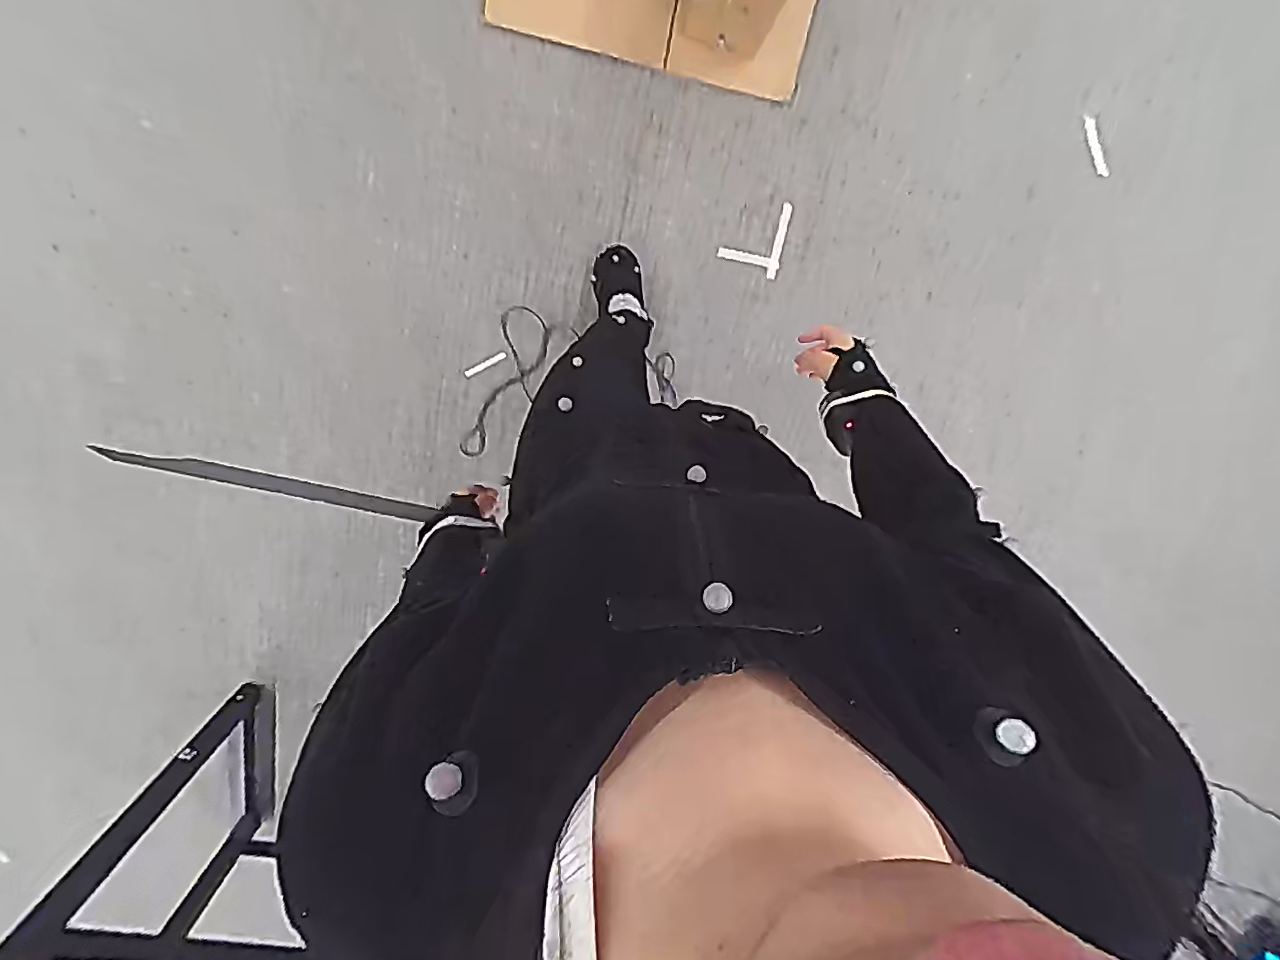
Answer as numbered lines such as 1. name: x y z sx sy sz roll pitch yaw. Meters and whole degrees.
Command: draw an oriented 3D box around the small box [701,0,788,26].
1. small box: 0.206 -0.951 0.938 0.168 0.176 0.179 14 108 -8
